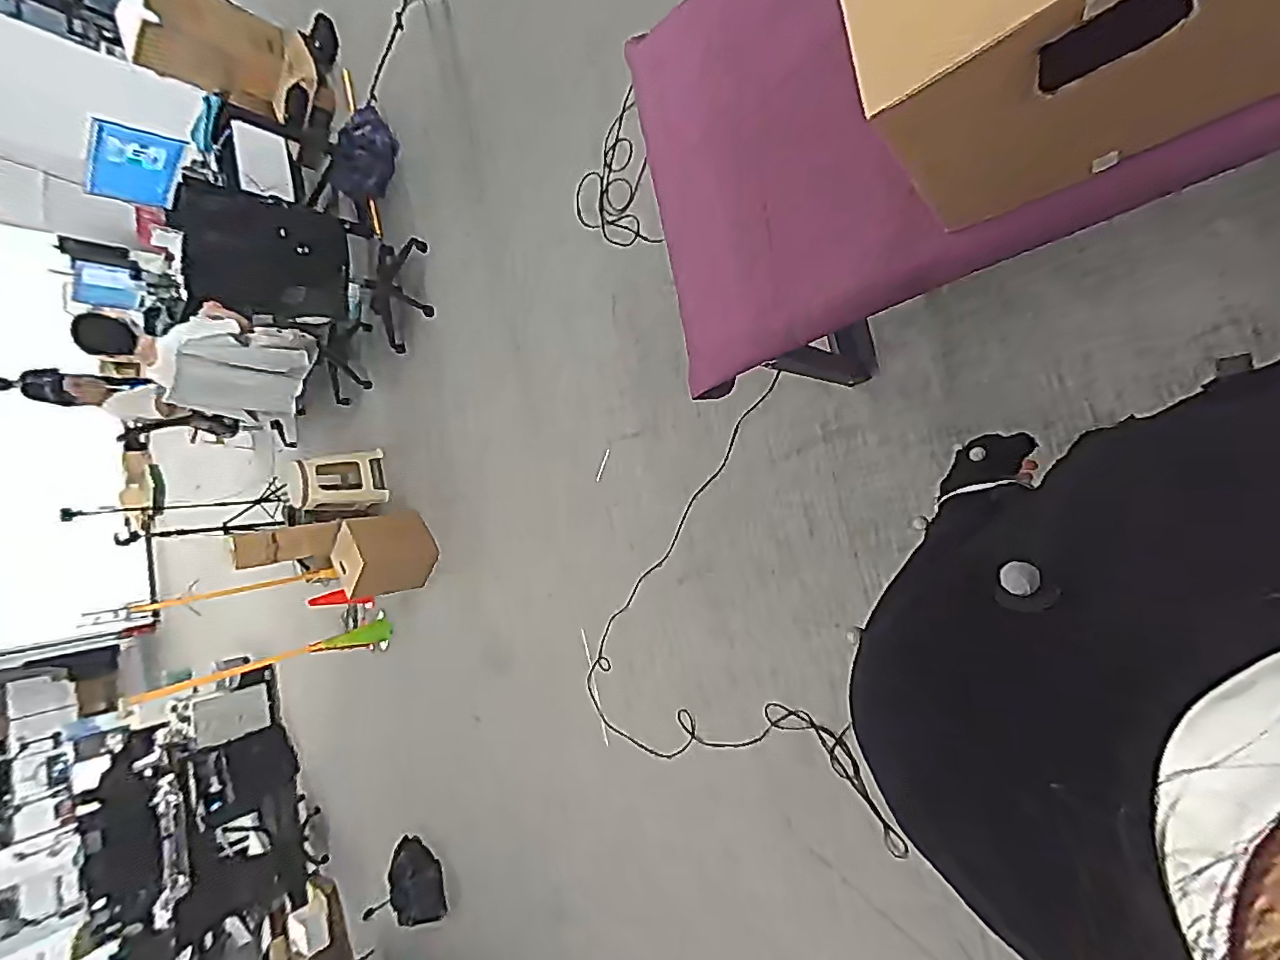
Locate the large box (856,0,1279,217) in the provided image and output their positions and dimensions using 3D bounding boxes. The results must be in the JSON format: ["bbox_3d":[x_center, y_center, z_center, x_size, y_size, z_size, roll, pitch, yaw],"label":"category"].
[{"bbox_3d":[0.381,-0.543,0.494,0.320,0.320,0.408,-14,84,40],"label":"large box"}]
